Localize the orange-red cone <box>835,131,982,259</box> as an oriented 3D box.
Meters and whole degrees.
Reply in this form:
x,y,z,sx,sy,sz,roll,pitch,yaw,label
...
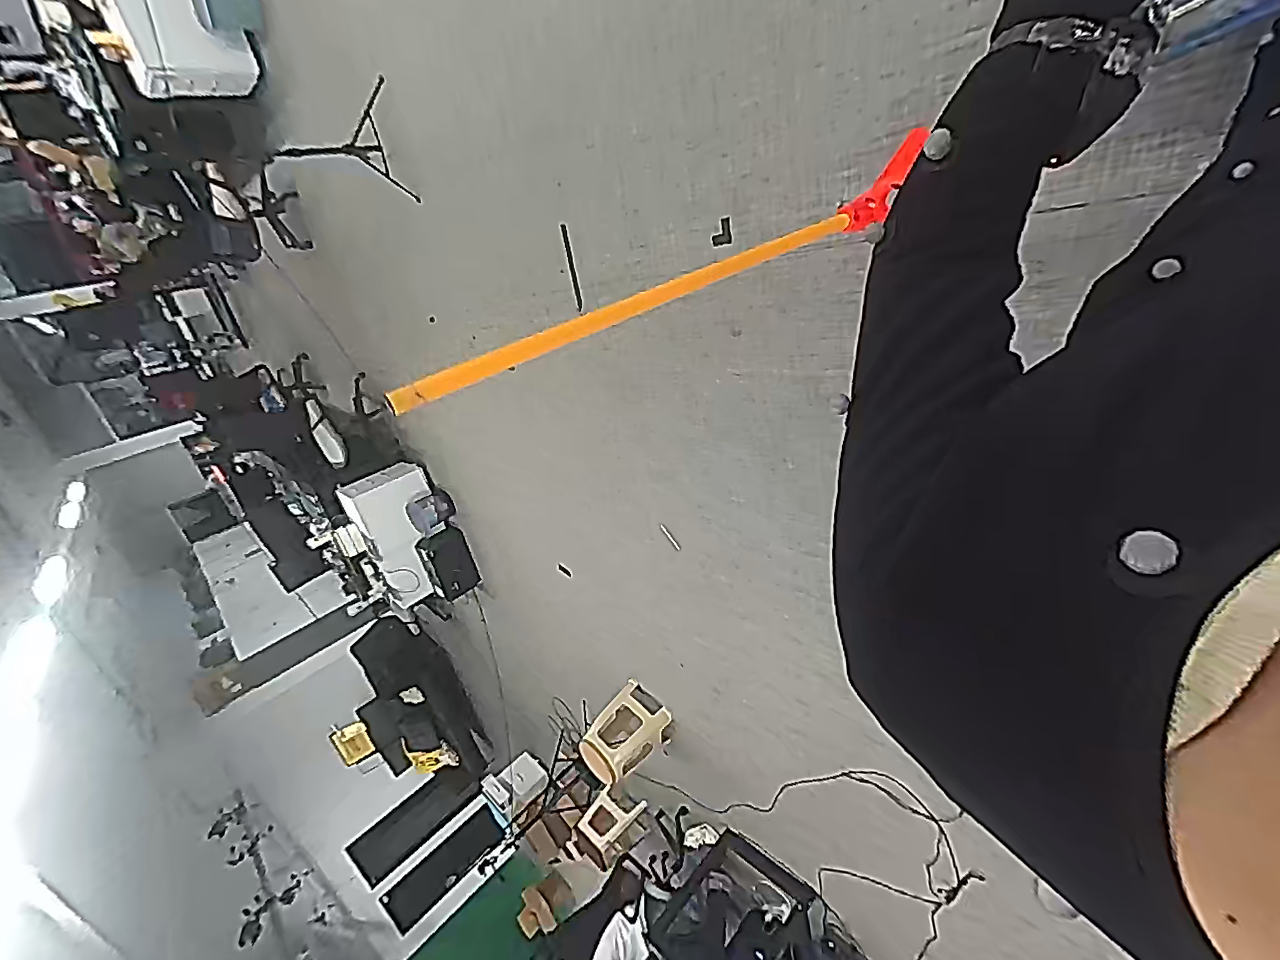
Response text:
x,y,z,sx,sy,sz,roll,pitch,yaw,label
0.482,-0.539,1.067,0.198,0.360,0.199,49,142,11,orange-red cone
